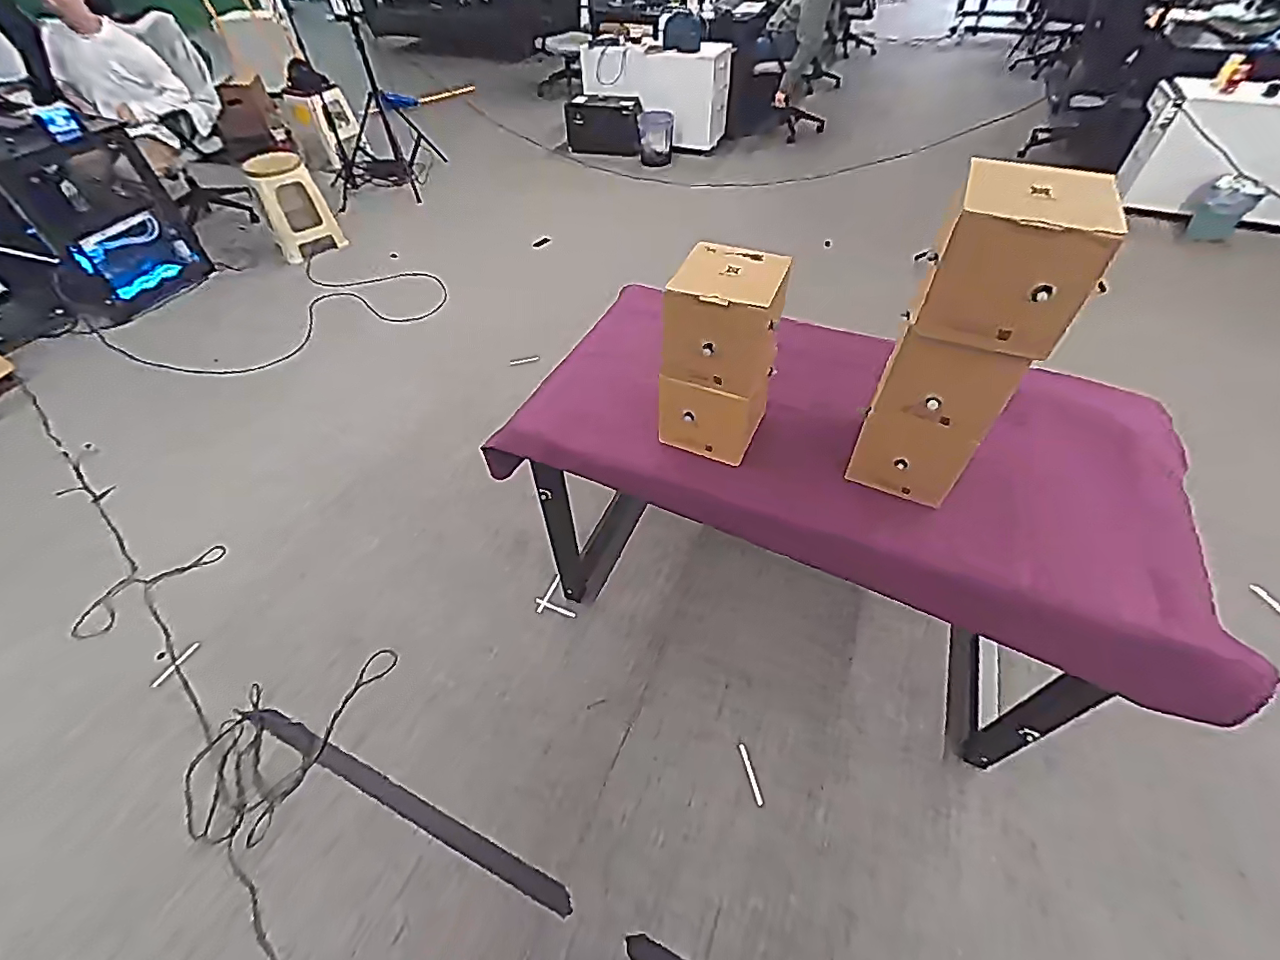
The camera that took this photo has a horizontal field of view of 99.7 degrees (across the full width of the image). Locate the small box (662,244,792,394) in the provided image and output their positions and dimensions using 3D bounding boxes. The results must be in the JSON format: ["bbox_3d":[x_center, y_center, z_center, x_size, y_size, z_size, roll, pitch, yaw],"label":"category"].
[{"bbox_3d":[0.145,-0.271,0.918,0.168,0.176,0.179,17,51,15],"label":"small box"}]

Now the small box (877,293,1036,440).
[{"bbox_3d":[0.488,-0.194,0.841,0.168,0.176,0.179,20,53,18],"label":"small box"}]

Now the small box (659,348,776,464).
[{"bbox_3d":[0.146,-0.157,1.036,0.168,0.176,0.179,19,51,17],"label":"small box"}]

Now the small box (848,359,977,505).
[{"bbox_3d":[0.486,-0.085,0.963,0.168,0.176,0.179,21,52,18],"label":"small box"}]

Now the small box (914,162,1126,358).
[{"bbox_3d":[0.477,-0.285,0.705,0.168,0.176,0.179,18,51,16],"label":"small box"}]
